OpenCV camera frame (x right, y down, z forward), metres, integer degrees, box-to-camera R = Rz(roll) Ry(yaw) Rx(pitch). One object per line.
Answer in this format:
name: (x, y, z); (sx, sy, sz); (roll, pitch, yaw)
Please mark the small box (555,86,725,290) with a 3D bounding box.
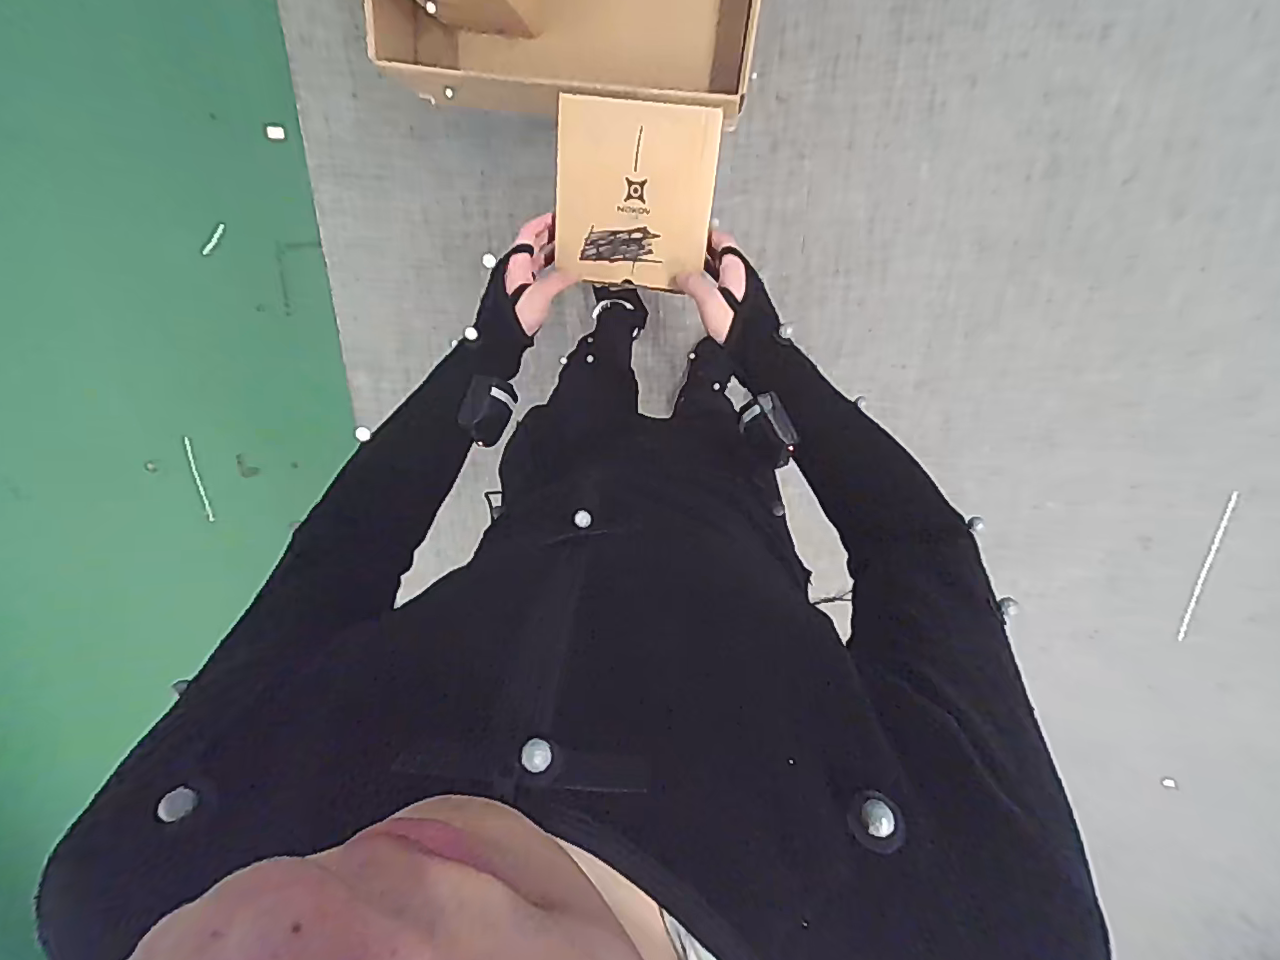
small box: (0.001, -0.330, 0.635); (0.168, 0.176, 0.179); (7, 114, 1)
